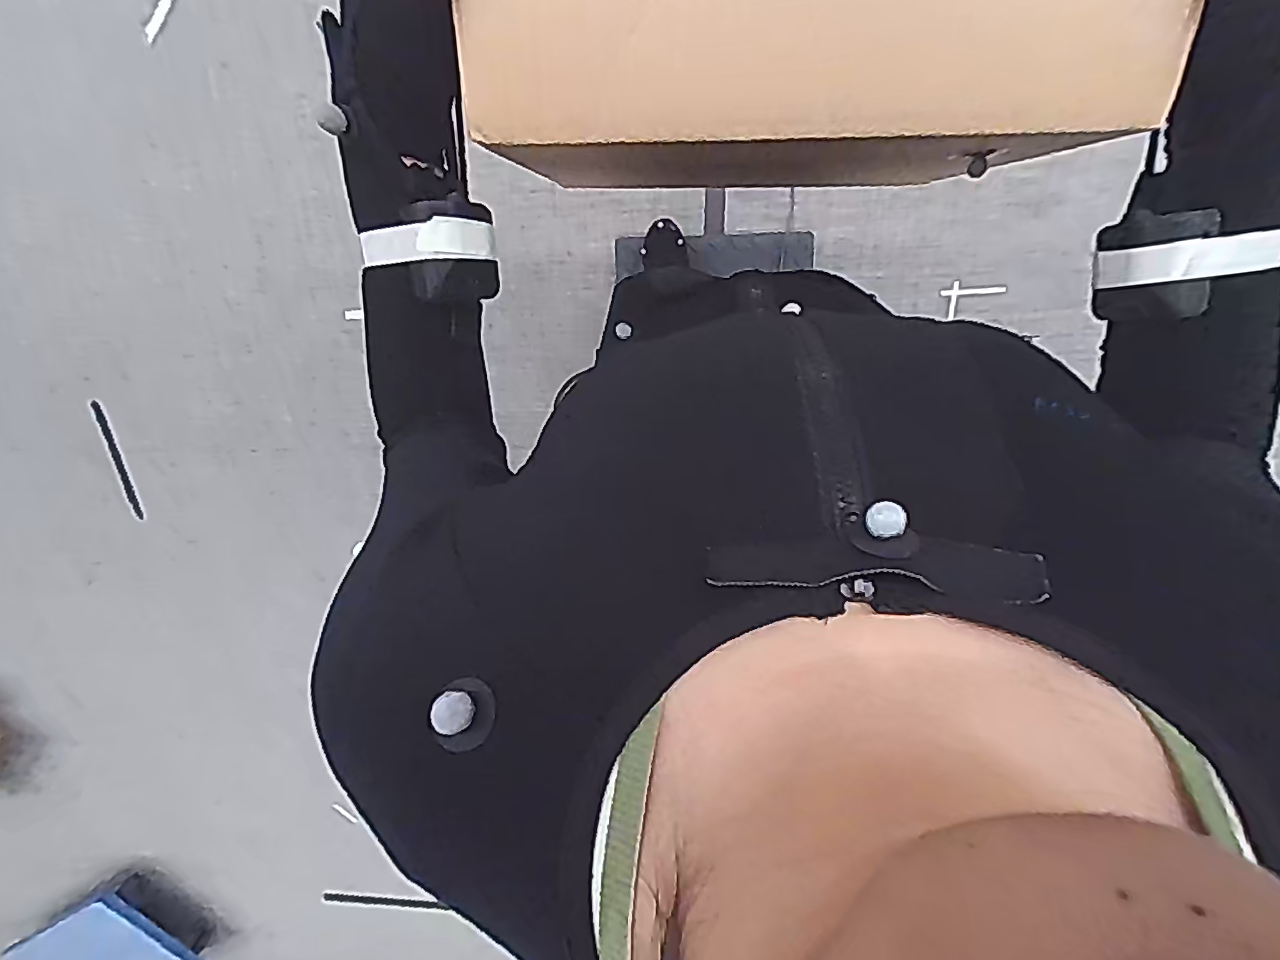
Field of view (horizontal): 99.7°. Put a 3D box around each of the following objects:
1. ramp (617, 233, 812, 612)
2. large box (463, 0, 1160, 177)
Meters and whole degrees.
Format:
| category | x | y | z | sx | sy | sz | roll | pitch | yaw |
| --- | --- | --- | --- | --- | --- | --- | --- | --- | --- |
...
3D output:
| category | x | y | z | sx | sy | sz | roll | pitch | yaw |
| --- | --- | --- | --- | --- | --- | --- | --- | --- | --- |
| ramp | 0.187 | -0.123 | 1.444 | 0.509 | 0.206 | 0.991 | -1 | 110 | 6 |
| large box | 0.100 | -0.418 | 0.406 | 0.408 | 0.320 | 0.320 | 1 | 114 | 3 |
